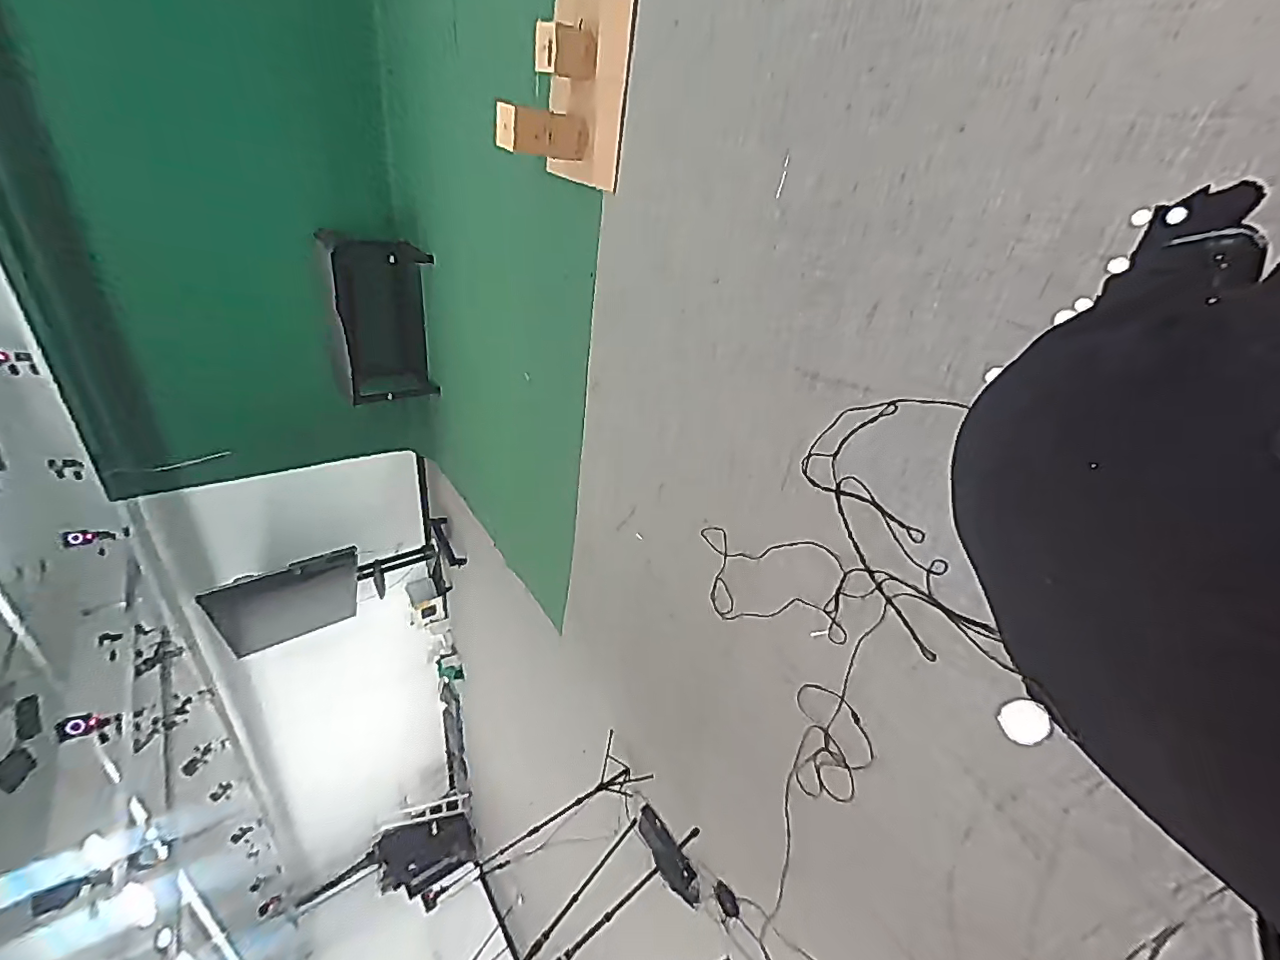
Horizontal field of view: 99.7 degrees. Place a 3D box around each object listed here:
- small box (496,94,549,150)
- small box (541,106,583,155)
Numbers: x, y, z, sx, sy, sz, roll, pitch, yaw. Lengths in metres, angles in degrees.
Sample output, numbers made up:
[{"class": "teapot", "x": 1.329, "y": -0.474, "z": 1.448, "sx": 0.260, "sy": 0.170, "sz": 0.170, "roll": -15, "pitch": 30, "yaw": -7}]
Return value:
[{"class": "small box", "x": -0.506, "y": -1.539, "z": 2.329, "sx": 0.179, "sy": 0.176, "sz": 0.168, "roll": 44, "pitch": 135, "yaw": 37}, {"class": "small box", "x": -0.370, "y": -1.565, "z": 2.414, "sx": 0.179, "sy": 0.176, "sz": 0.168, "roll": 43, "pitch": 136, "yaw": 38}]
